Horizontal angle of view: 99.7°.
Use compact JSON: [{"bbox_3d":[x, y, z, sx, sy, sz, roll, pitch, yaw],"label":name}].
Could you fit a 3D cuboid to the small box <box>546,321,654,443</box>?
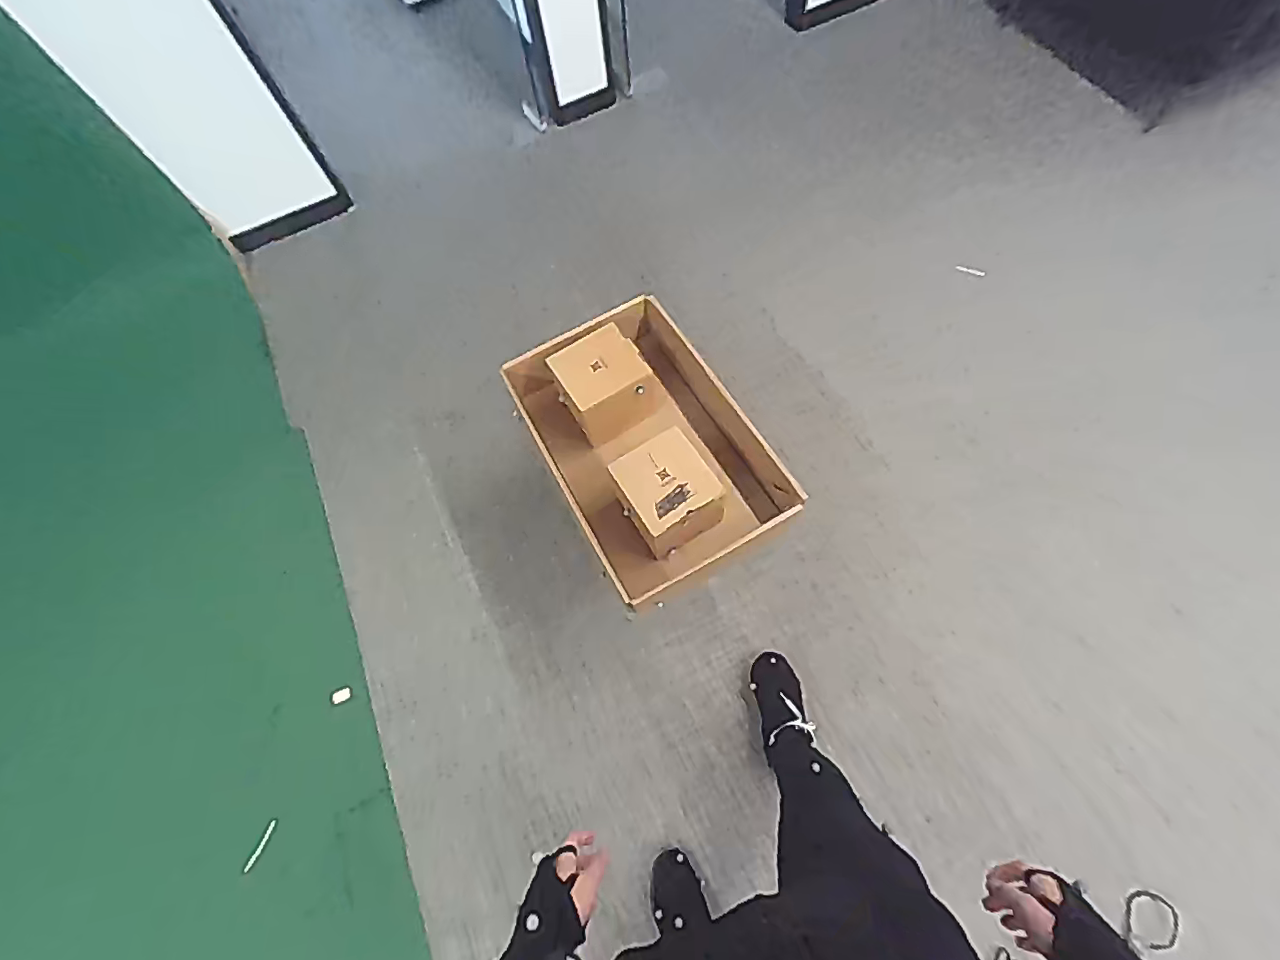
[{"bbox_3d":[-0.081,-0.212,1.215,0.179,0.176,0.168,-32,67,-9],"label":"small box"}]
